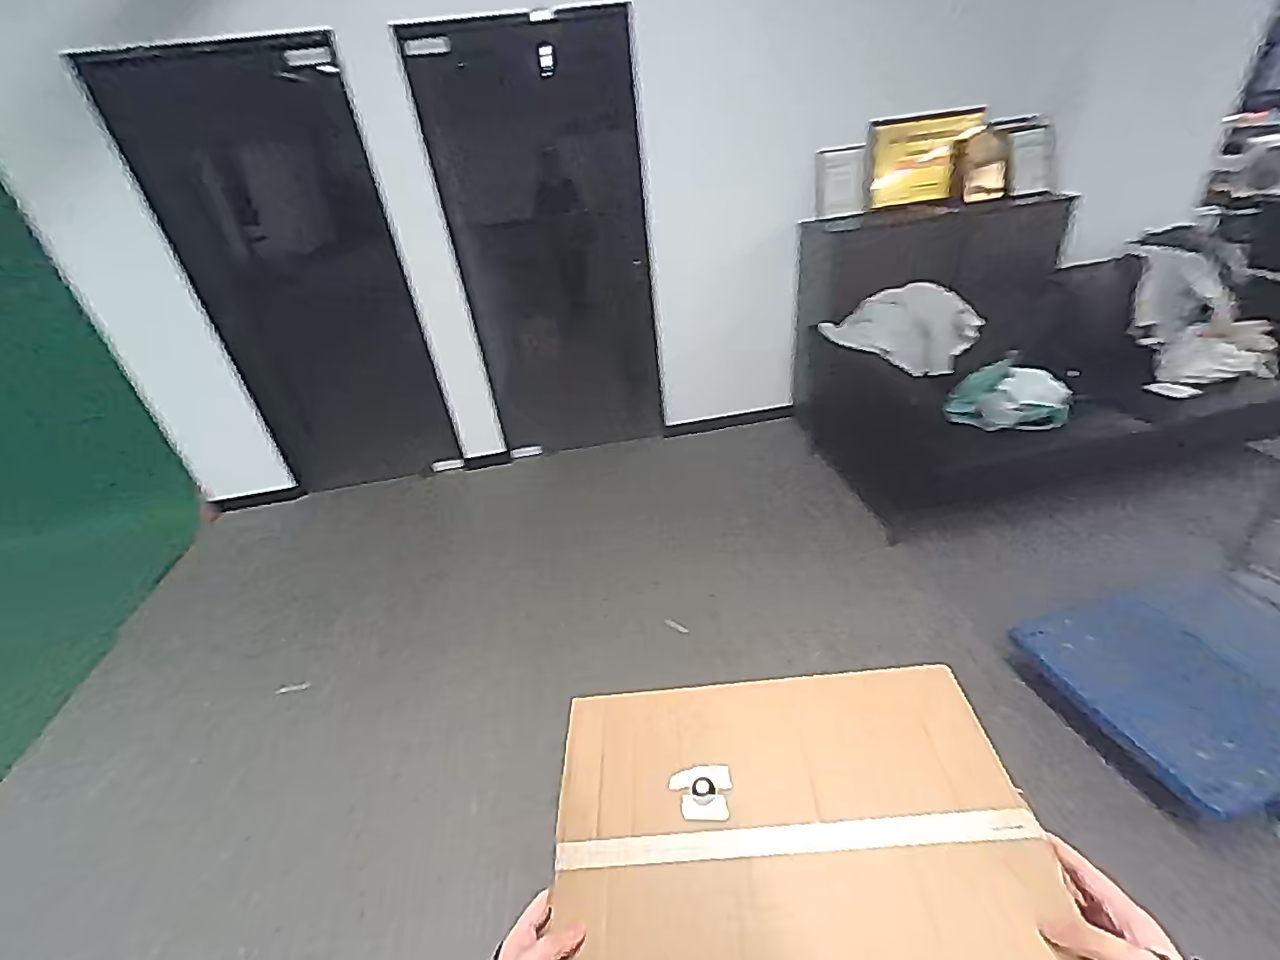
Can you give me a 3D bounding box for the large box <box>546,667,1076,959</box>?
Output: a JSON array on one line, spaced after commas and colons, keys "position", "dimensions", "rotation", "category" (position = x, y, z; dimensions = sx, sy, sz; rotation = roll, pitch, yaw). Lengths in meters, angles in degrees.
[{"position": [0.144, 0.439, 0.562], "dimensions": [0.408, 0.320, 0.320], "rotation": [-9, 36, 5], "category": "large box"}]
